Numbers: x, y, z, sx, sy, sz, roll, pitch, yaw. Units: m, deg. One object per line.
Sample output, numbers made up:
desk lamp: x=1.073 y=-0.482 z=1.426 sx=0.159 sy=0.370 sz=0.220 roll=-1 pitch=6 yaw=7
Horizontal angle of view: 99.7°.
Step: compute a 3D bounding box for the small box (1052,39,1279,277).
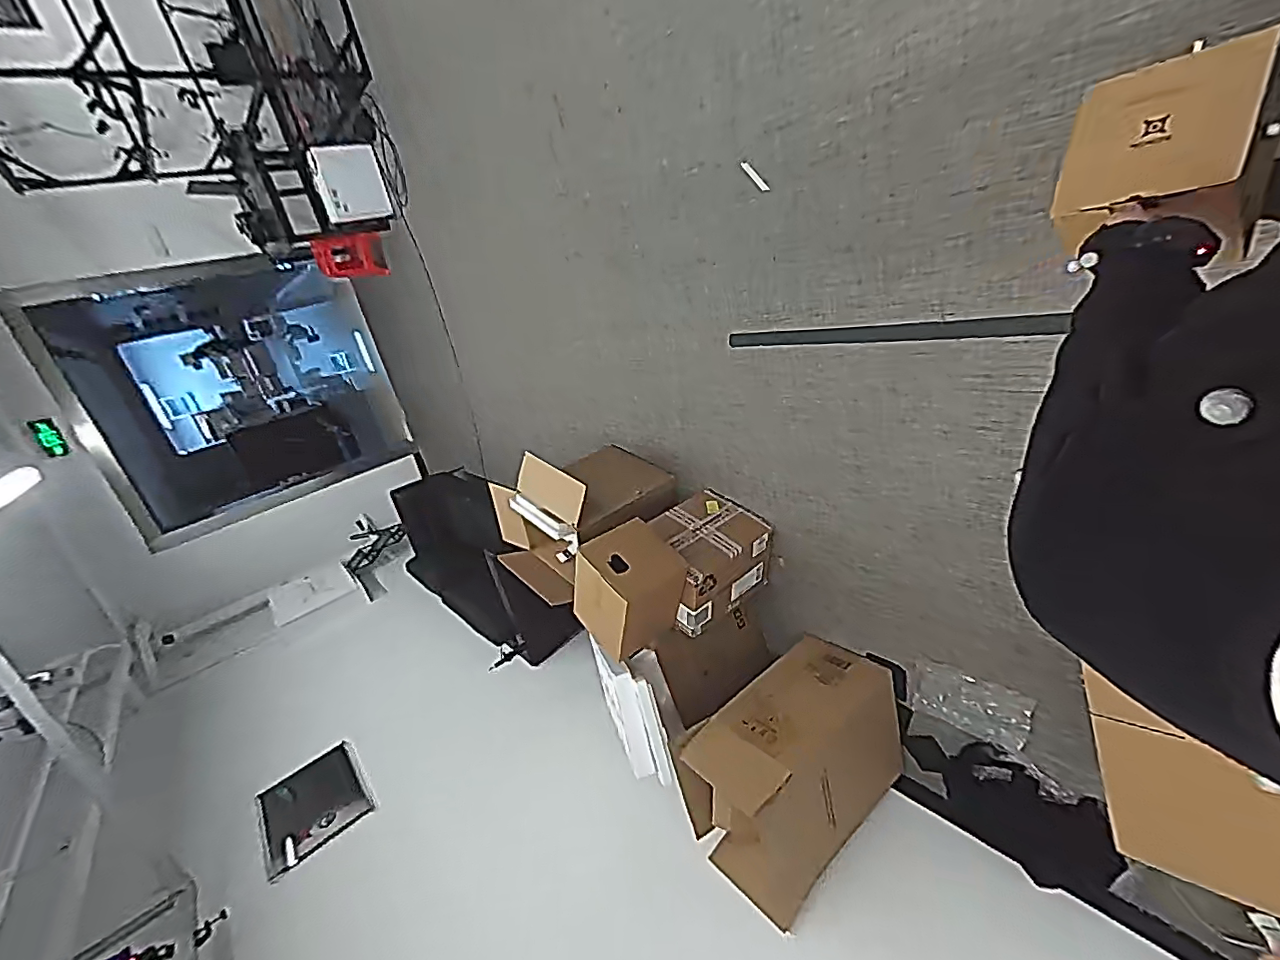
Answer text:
small box: x=0.653 y=-0.370 z=0.670 sx=0.168 sy=0.176 sz=0.179 roll=17 pitch=87 yaw=51
